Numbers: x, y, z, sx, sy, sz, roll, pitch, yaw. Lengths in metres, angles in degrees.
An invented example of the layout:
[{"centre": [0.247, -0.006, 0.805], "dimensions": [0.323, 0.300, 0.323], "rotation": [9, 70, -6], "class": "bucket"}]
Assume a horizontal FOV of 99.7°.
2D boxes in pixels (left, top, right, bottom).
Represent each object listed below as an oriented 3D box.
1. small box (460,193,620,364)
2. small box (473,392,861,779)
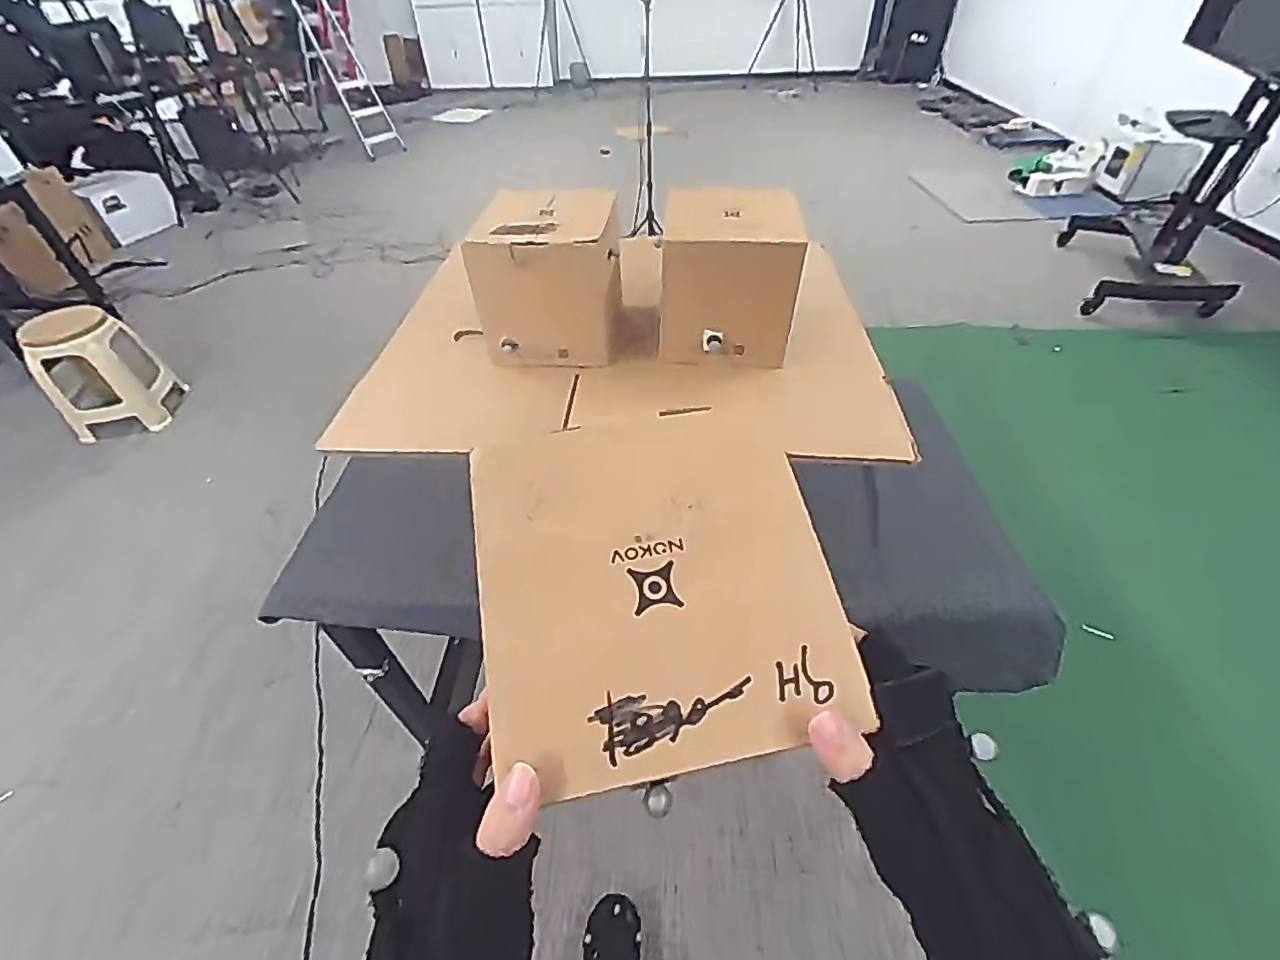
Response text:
[{"centre": [-0.120, -0.272, 0.739], "dimensions": [0.168, 0.176, 0.179], "rotation": [2, 45, 5], "class": "small box"}, {"centre": [0.002, 0.074, 0.337], "dimensions": [0.168, 0.176, 0.179], "rotation": [-10, 63, -5], "class": "small box"}]
